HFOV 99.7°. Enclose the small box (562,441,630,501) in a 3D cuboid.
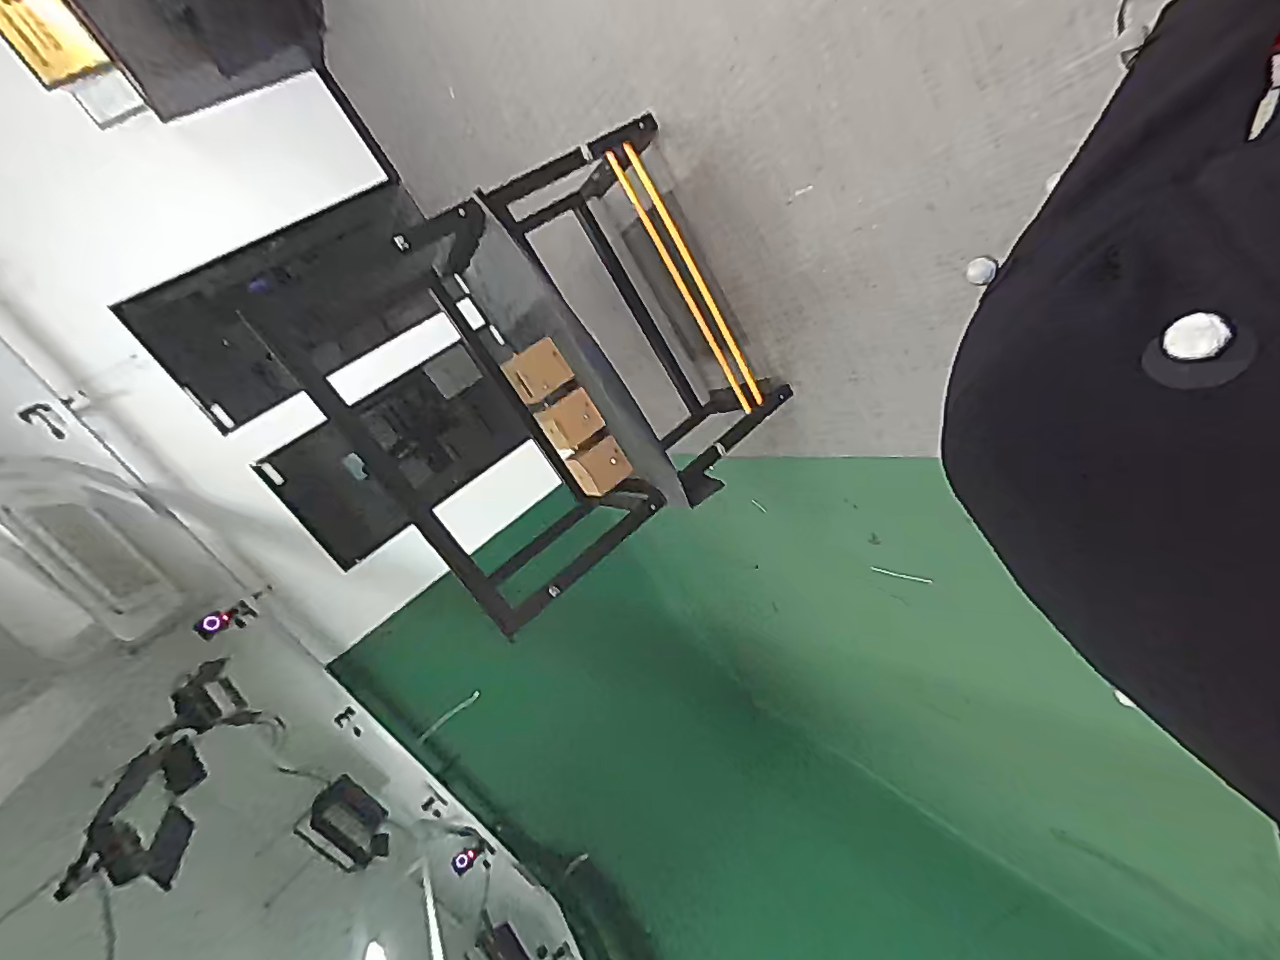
[{"bbox_3d":[-0.167,-0.040,2.080,0.168,0.176,0.179,57,158,-17],"label":"small box"}]
